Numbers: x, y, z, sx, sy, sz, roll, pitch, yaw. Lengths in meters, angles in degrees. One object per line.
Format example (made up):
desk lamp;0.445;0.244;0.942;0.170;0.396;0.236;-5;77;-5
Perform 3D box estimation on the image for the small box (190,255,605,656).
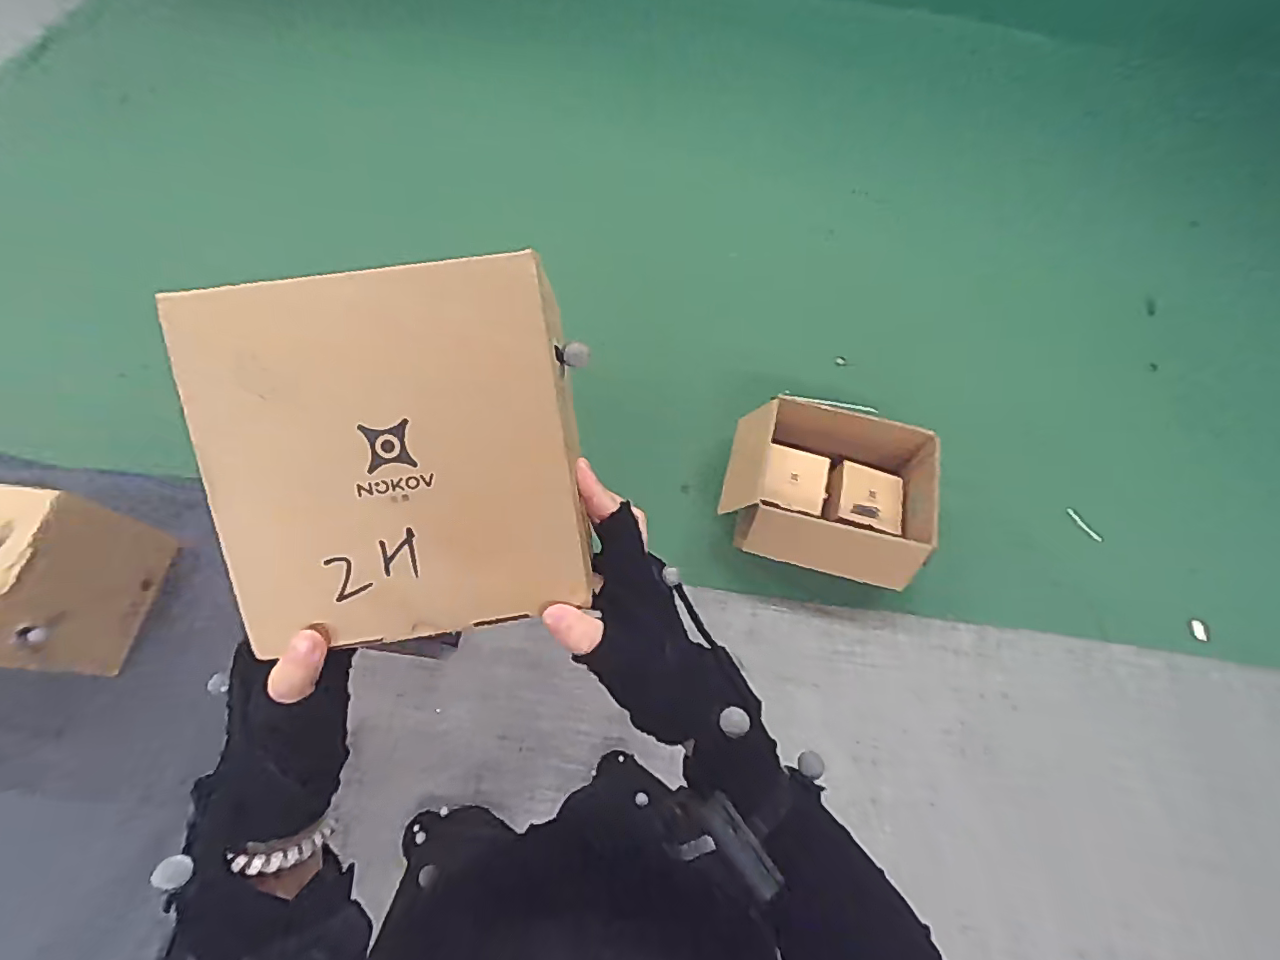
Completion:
small box;-0.115;-0.020;0.334;0.168;0.176;0.179;-8;99;-3
